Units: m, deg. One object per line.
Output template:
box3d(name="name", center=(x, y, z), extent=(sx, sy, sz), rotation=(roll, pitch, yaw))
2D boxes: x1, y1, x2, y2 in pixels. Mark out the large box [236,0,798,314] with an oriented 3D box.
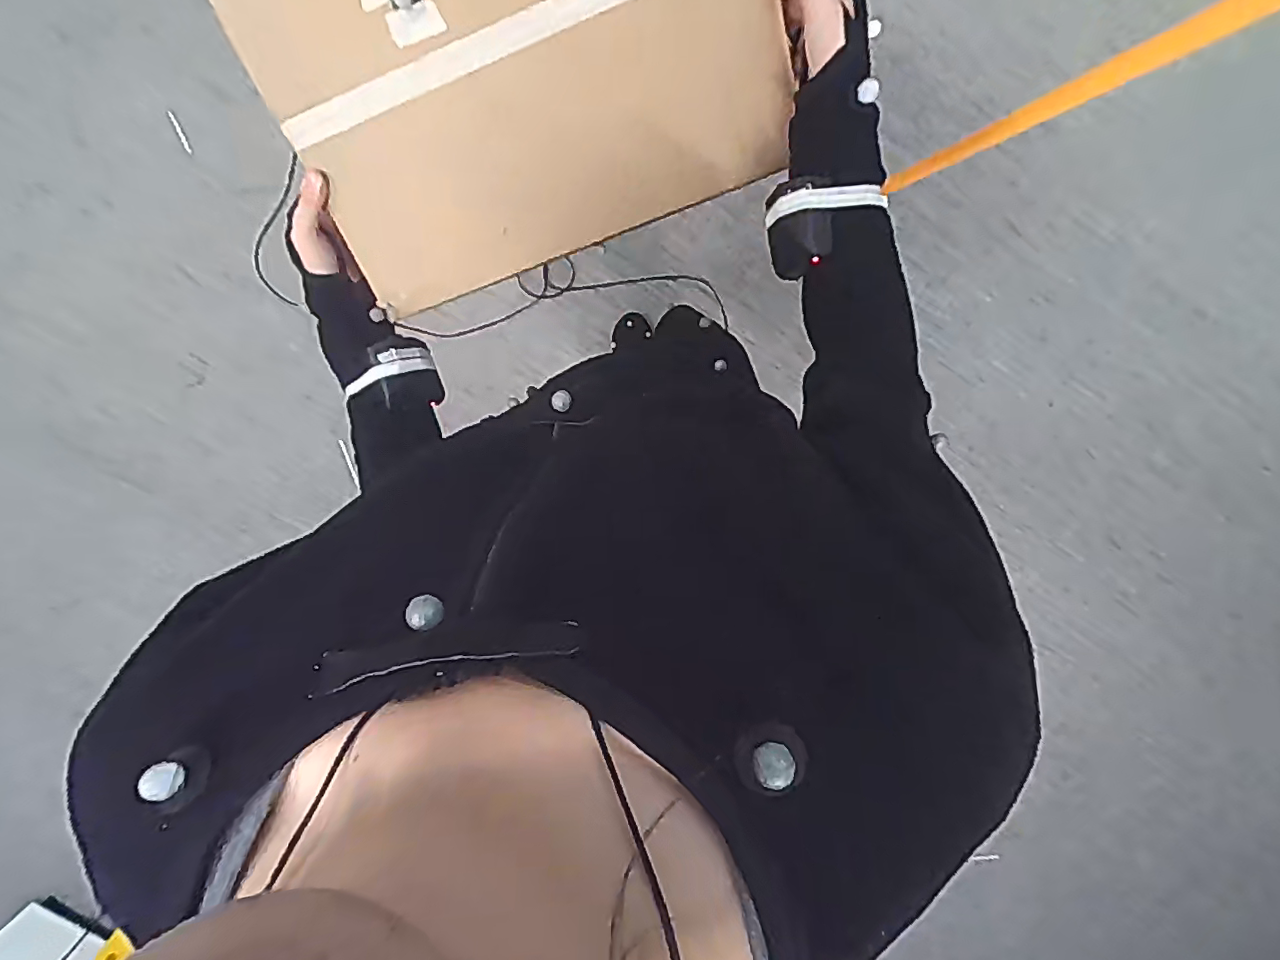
box3d(name="large box", center=(-0.098, -0.419, 0.571), extent=(0.408, 0.320, 0.320), rotation=(-18, 115, 8))
